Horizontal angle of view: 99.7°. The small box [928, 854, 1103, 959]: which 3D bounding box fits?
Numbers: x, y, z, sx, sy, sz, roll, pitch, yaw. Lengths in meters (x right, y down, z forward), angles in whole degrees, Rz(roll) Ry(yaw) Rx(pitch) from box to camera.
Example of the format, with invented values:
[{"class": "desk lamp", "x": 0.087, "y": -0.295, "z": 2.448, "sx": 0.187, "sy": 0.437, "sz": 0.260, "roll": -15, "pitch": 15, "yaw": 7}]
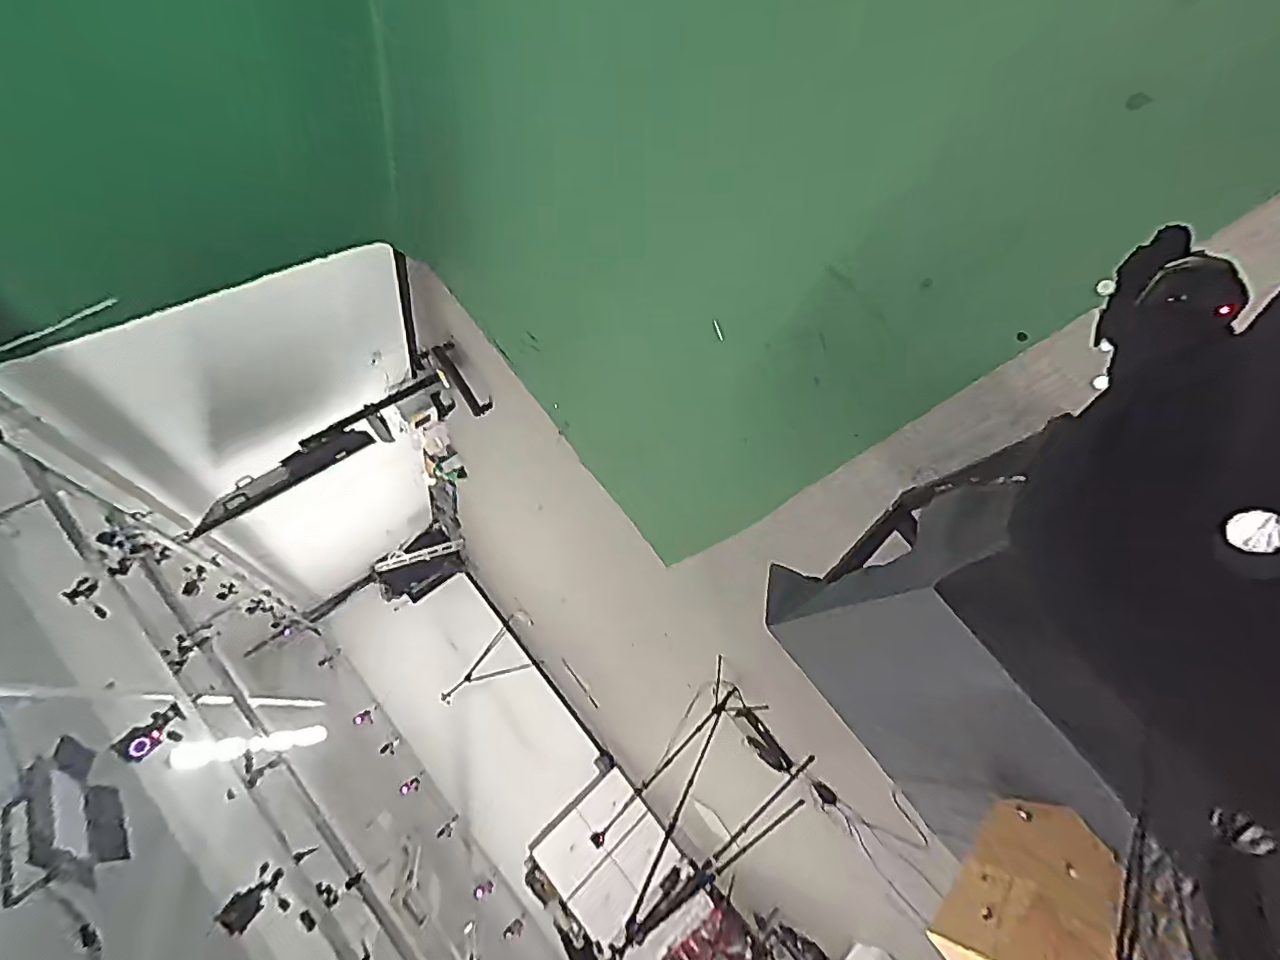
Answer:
[{"class": "small box", "x": 0.682, "y": 0.834, "z": 0.987, "sx": 0.179, "sy": 0.176, "sz": 0.168, "roll": 51, "pitch": 153, "yaw": 7}]
